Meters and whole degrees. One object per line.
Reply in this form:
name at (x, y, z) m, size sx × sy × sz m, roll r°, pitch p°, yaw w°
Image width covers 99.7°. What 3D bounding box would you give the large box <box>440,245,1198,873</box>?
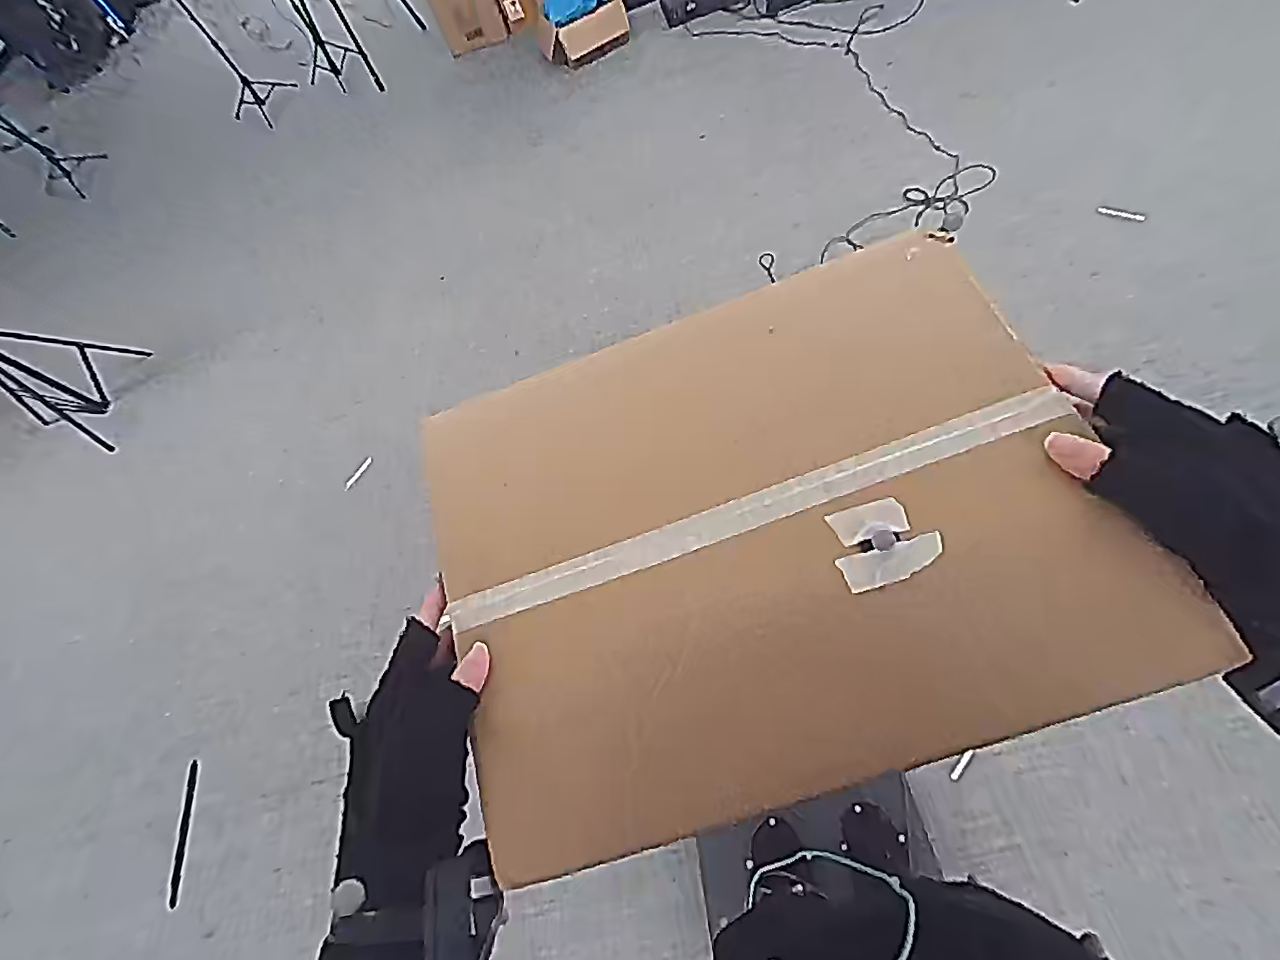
large box at (0.097, 0.078, 0.492) m, size 0.408 × 0.320 × 0.320 m, roll -20°, pitch 68°, yaw 4°
